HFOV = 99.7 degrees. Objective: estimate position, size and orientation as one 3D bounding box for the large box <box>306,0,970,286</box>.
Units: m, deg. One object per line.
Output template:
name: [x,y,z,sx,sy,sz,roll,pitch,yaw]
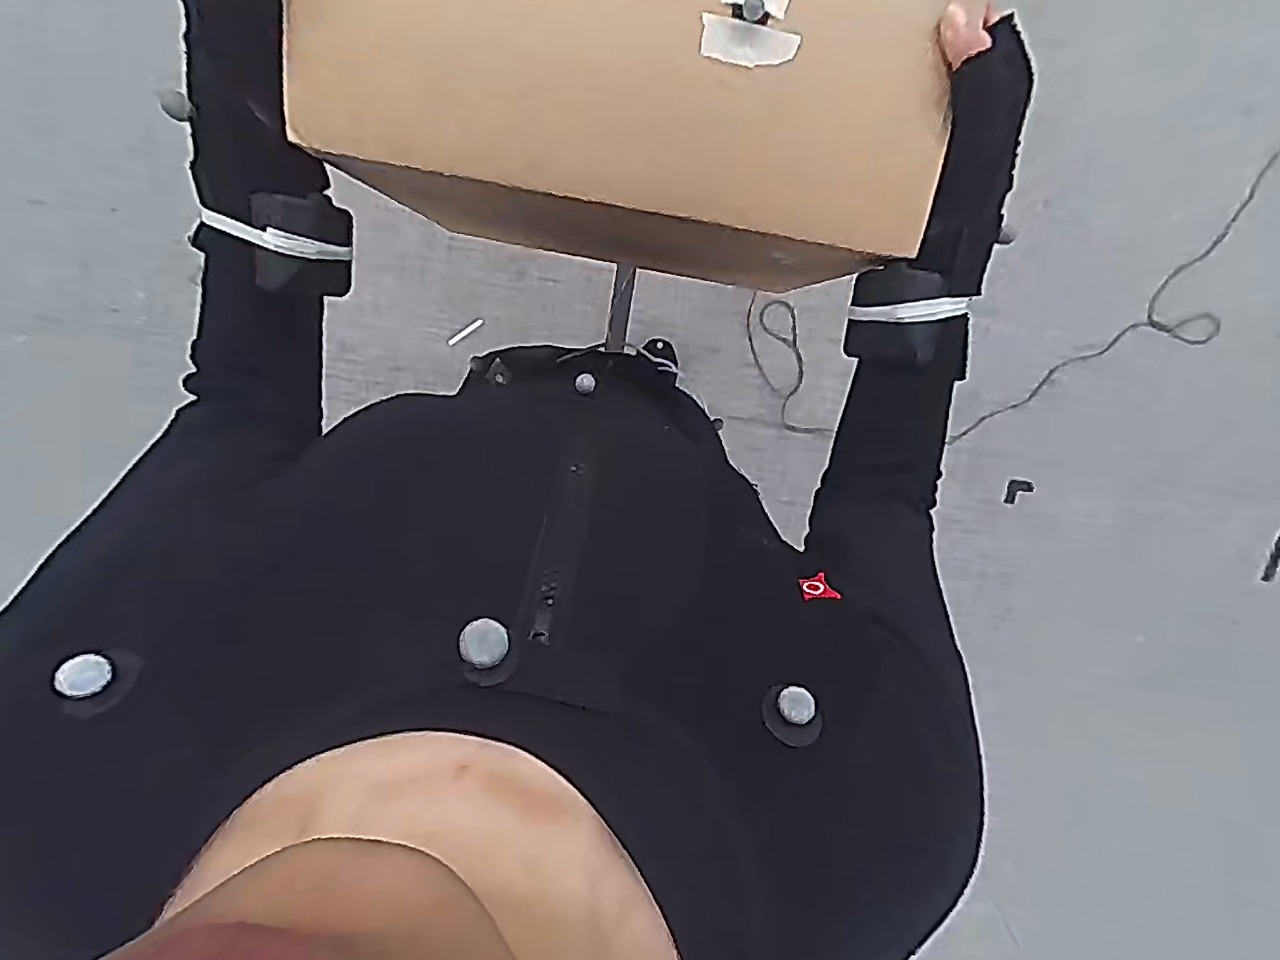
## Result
large box: [0.002,-0.366,0.460,0.408,0.320,0.320,9,106,-4]
